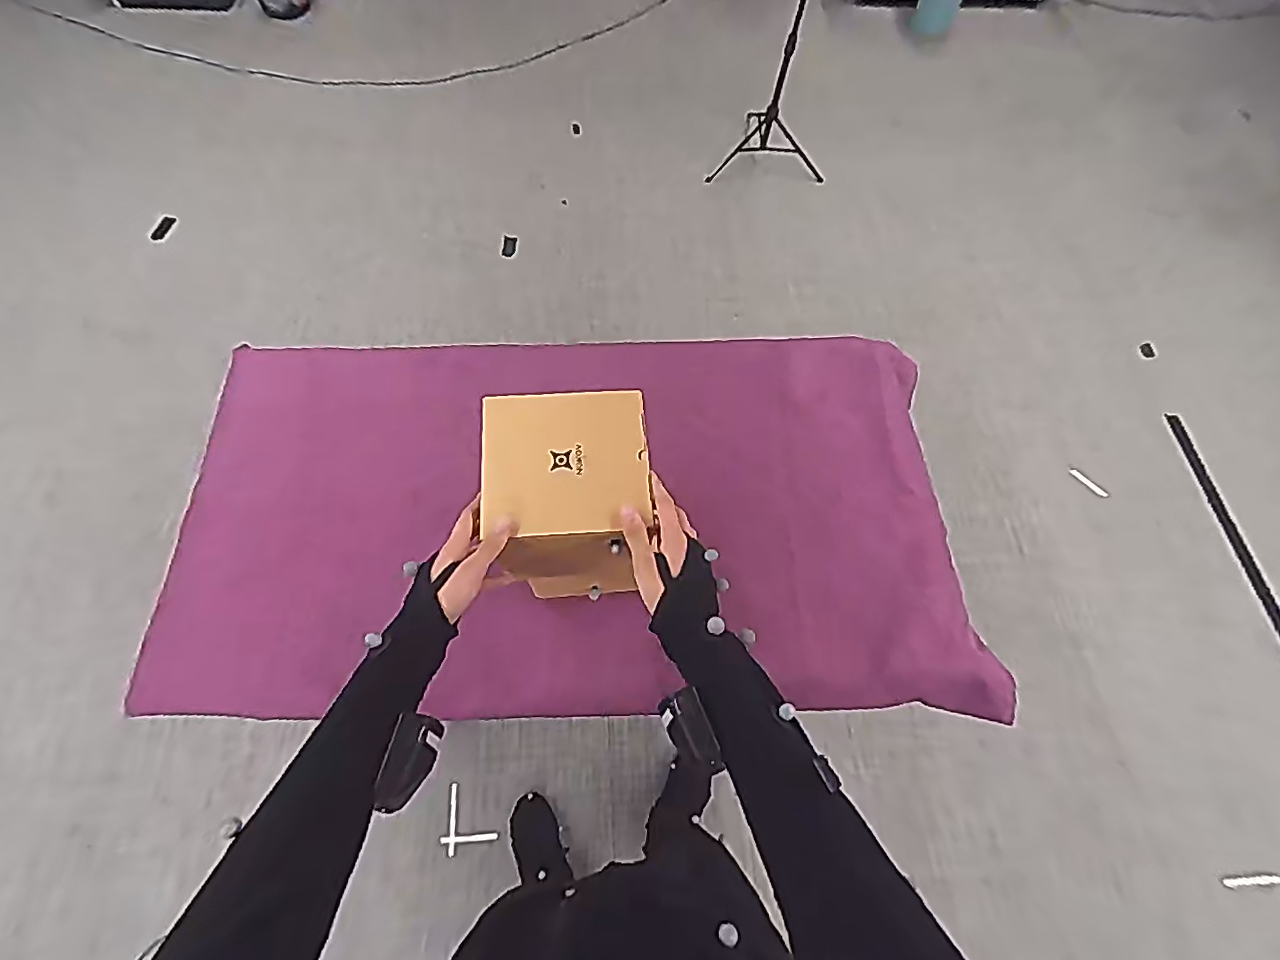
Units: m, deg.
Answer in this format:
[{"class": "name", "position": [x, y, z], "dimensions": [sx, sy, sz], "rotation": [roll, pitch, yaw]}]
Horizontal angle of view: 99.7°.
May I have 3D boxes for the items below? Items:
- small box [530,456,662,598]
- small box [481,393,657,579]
[{"class": "small box", "position": [-0.070, 0.070, 0.790], "dimensions": [0.179, 0.176, 0.168], "rotation": [-4, 65, -6]}, {"class": "small box", "position": [-0.079, 0.014, 0.635], "dimensions": [0.179, 0.176, 0.168], "rotation": [-3, 67, -5]}]
